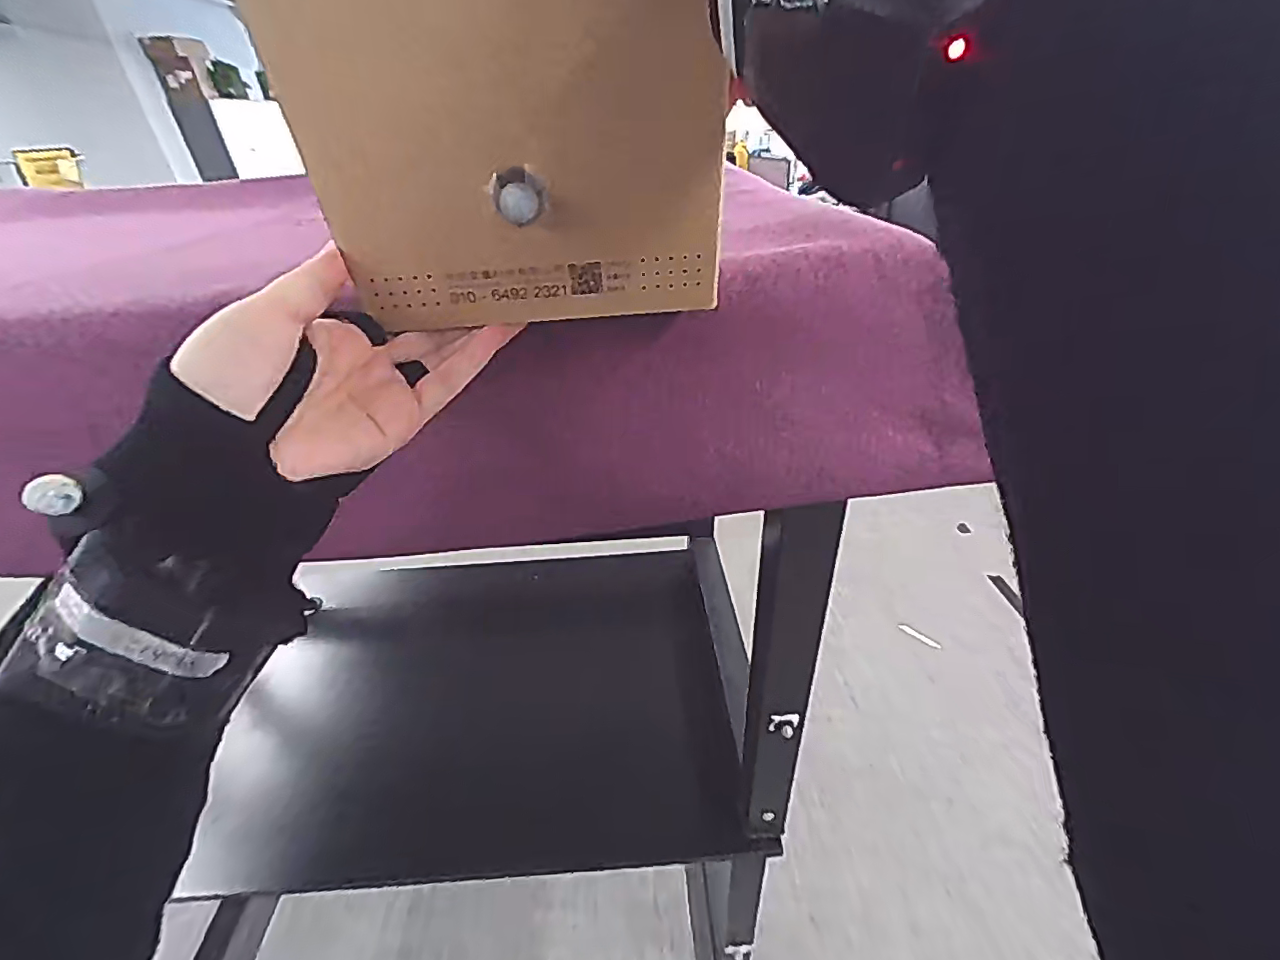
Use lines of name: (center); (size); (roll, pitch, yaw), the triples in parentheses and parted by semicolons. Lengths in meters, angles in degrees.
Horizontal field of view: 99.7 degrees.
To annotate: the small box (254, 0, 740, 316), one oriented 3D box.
small box: (-0.053, -0.194, 0.251); (0.168, 0.176, 0.179); (-5, 45, -1)
